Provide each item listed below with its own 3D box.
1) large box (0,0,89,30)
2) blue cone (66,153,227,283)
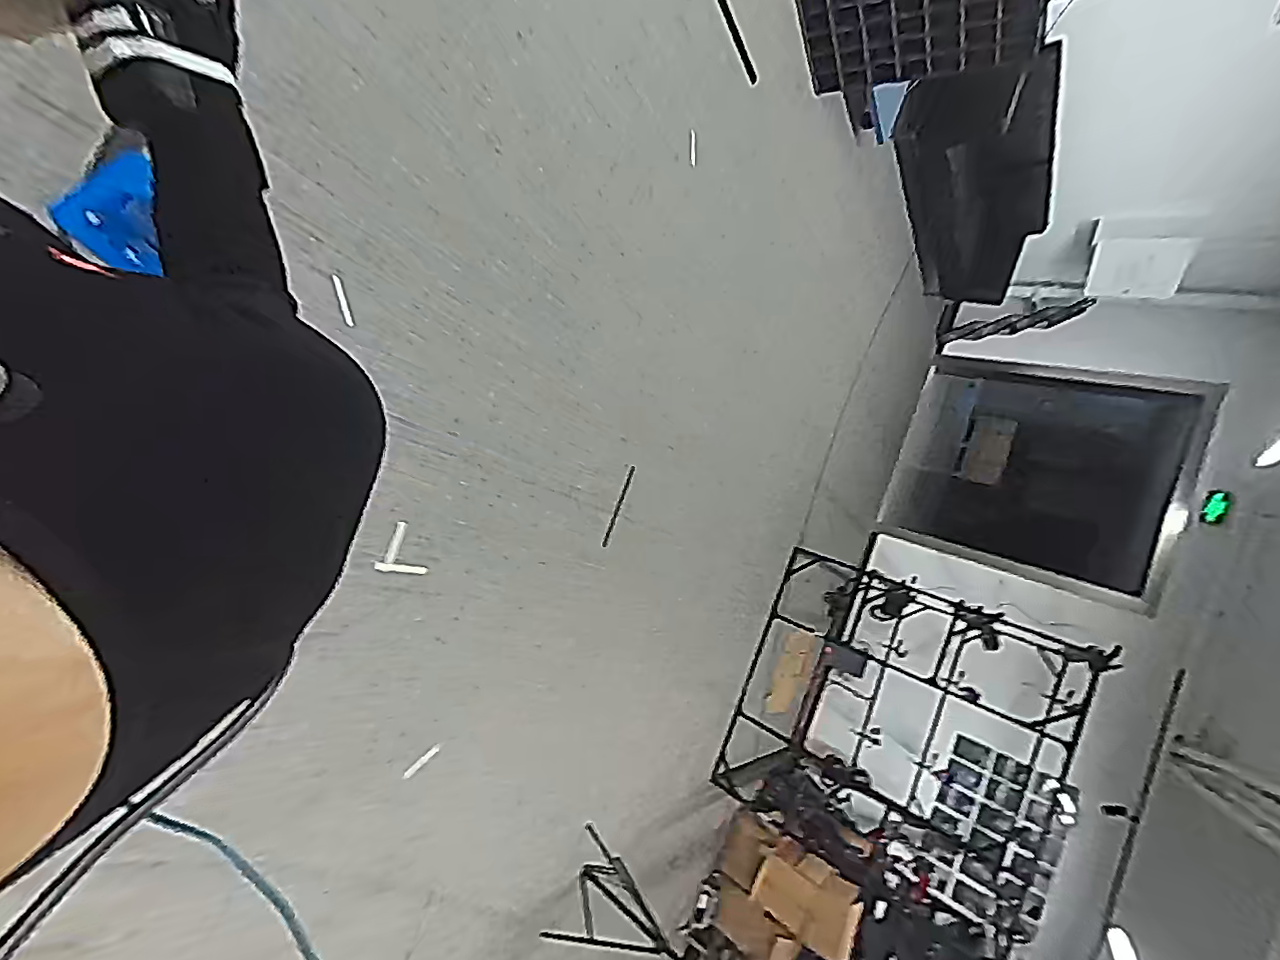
[{"bbox_3d":[-0.573,-0.467,0.237,0.408,0.320,0.320,-25,130,-50],"label":"large box"},{"bbox_3d":[-0.835,-0.467,0.969,0.192,0.380,0.193,-56,142,-21],"label":"blue cone"}]
